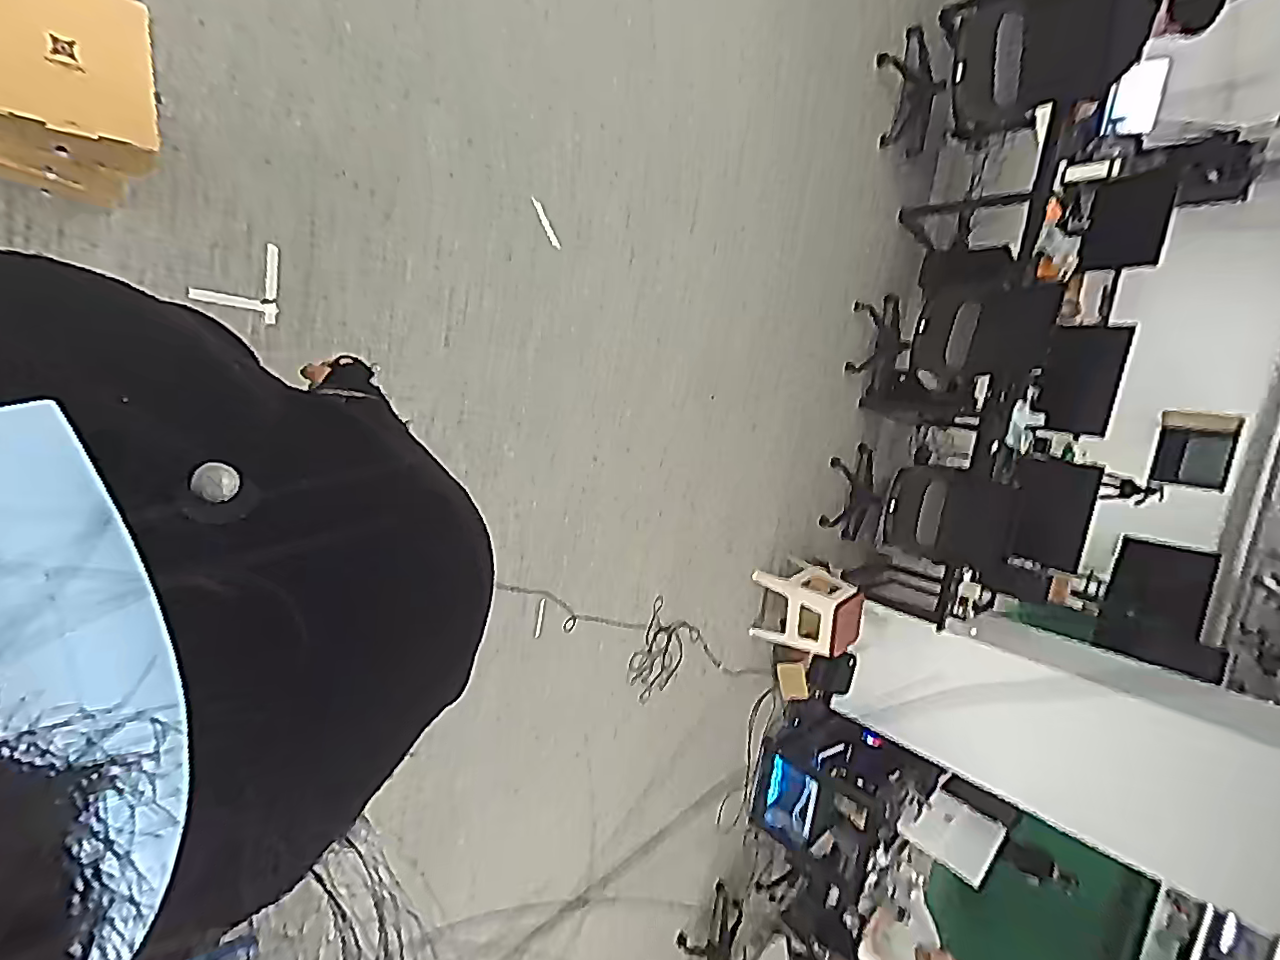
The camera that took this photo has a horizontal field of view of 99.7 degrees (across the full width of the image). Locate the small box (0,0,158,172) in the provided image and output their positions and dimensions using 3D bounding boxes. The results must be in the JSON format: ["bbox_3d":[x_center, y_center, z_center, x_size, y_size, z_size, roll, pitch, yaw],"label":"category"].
[{"bbox_3d":[-0.749,-0.531,0.701,0.168,0.176,0.179,-7,106,-44],"label":"small box"}]

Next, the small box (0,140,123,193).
[{"bbox_3d":[-0.872,-0.562,0.804,0.168,0.176,0.179,10,94,-45],"label":"small box"}]
